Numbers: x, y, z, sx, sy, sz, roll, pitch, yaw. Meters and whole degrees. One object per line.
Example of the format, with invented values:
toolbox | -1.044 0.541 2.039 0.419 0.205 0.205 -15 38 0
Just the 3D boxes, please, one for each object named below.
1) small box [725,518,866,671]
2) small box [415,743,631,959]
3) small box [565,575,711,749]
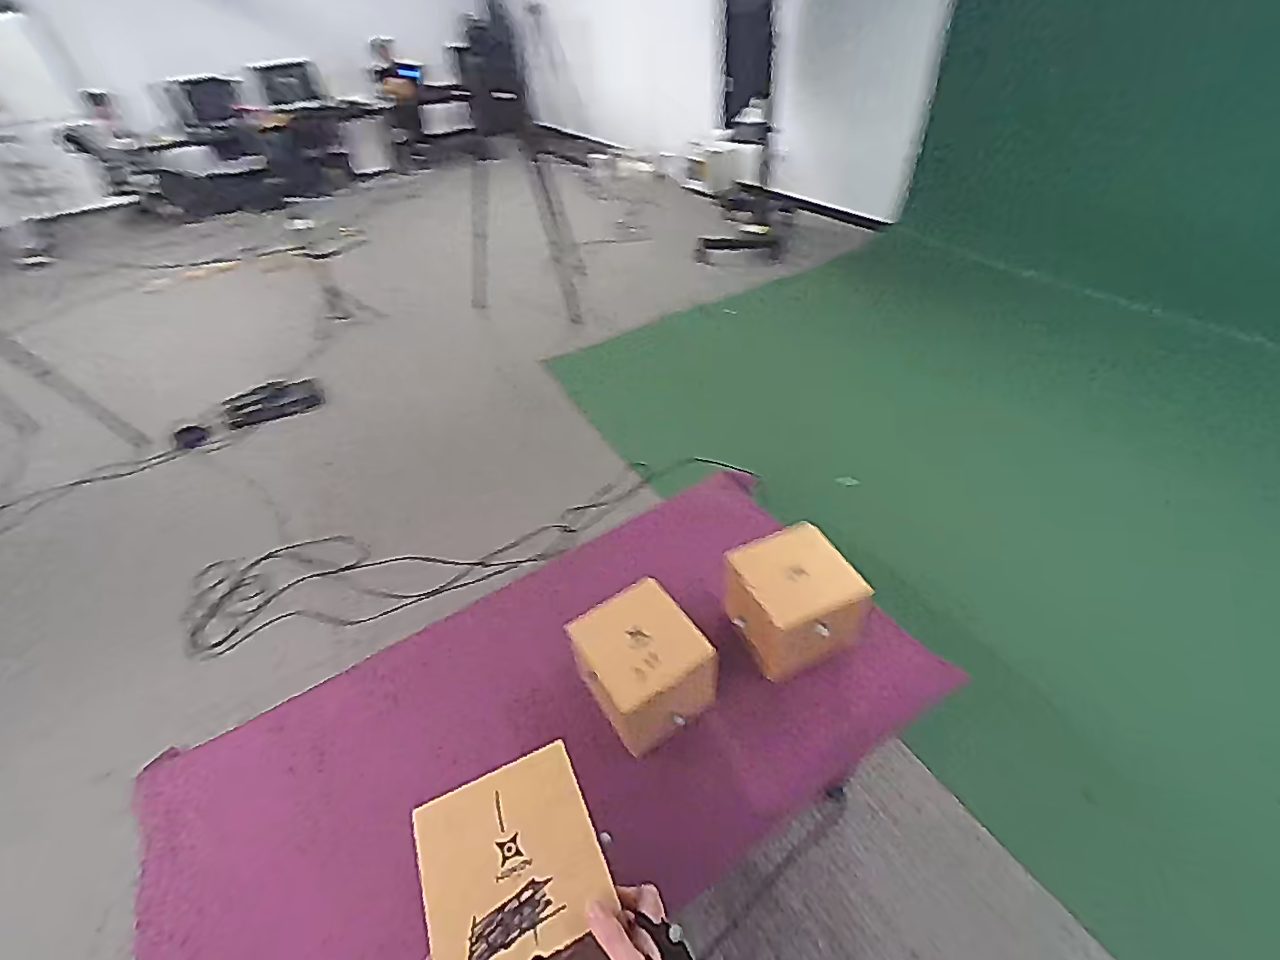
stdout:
small box | 0.260 0.203 0.953 0.179 0.176 0.168 -21 45 -12
small box | -0.117 0.423 0.568 0.168 0.176 0.179 -19 43 -15
small box | -0.002 0.296 0.885 0.168 0.176 0.179 -28 47 -20
